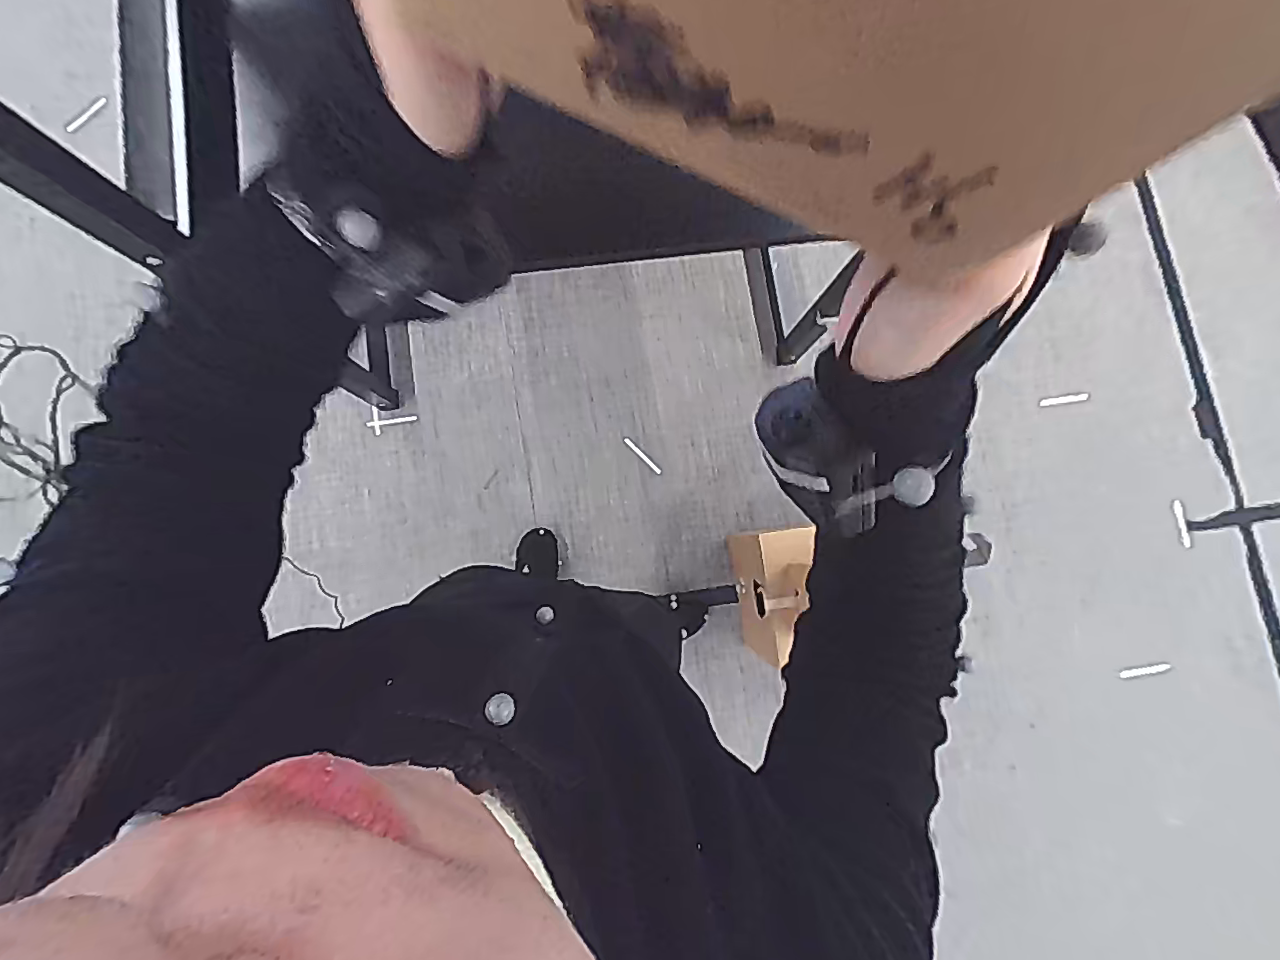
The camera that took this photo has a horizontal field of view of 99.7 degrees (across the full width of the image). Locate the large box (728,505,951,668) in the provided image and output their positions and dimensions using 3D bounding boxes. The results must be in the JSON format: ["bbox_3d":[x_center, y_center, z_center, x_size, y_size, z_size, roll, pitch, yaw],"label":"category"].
[{"bbox_3d":[0.471,0.251,1.358,0.408,0.320,0.320,-8,85,-5],"label":"large box"}]
